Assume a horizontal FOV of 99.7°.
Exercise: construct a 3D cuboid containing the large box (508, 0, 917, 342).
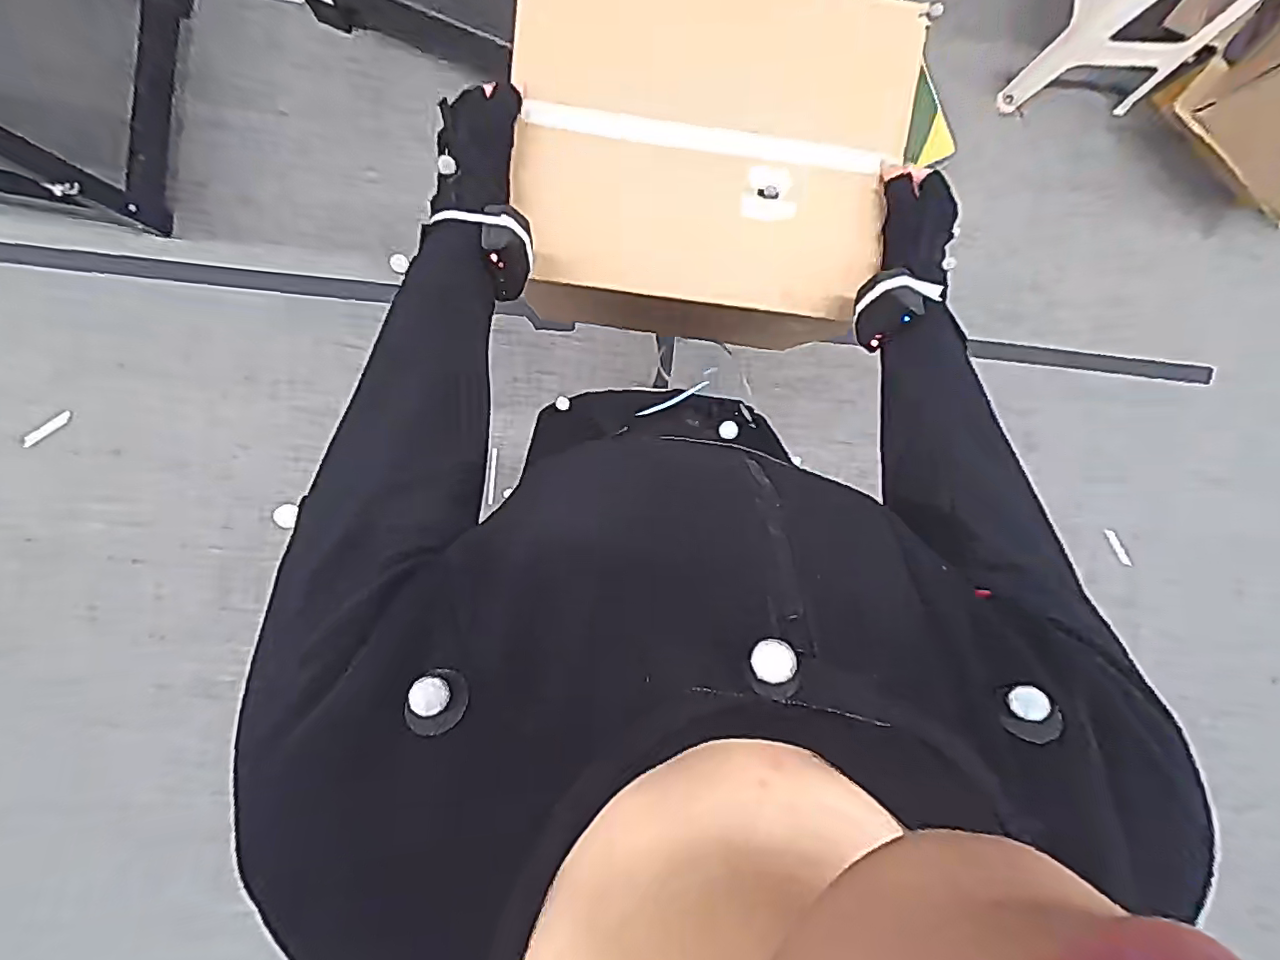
[{"bbox_3d":[0.063,-0.374,0.708,0.408,0.320,0.320,7,99,-4],"label":"large box"}]
